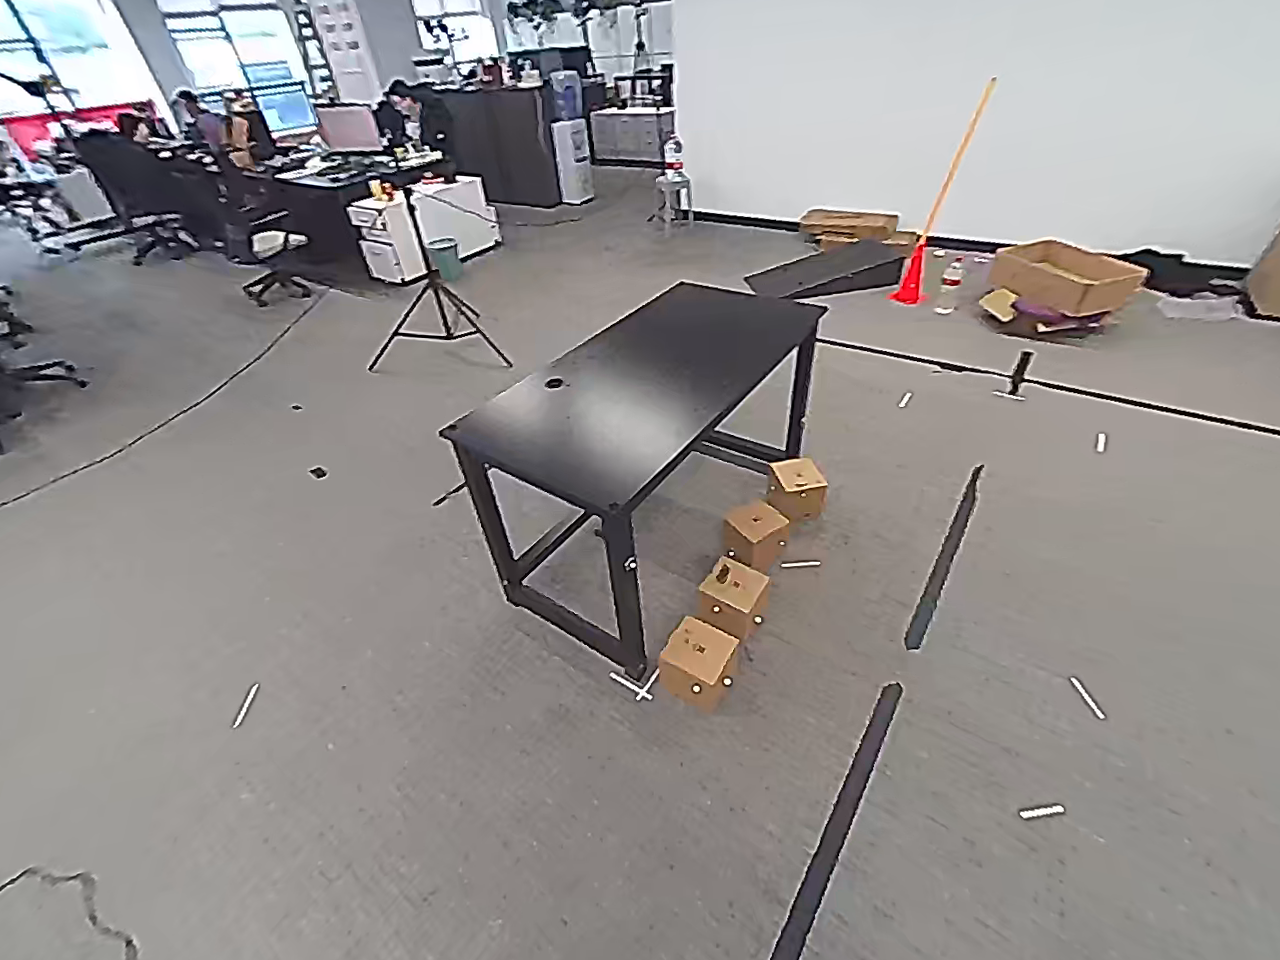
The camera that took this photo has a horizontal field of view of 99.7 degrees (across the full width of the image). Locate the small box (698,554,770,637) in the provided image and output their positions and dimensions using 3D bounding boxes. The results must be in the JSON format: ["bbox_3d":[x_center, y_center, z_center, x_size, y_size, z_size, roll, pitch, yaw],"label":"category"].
[{"bbox_3d":[0.303,0.379,1.758,0.179,0.176,0.168,23,48,27],"label":"small box"}]

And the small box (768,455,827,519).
[{"bbox_3d":[0.614,0.030,2.131,0.168,0.176,0.179,-10,41,-5],"label":"small box"}]

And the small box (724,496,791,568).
[{"bbox_3d":[0.420,0.194,1.965,0.179,0.176,0.168,-27,44,-22],"label":"small box"}]
